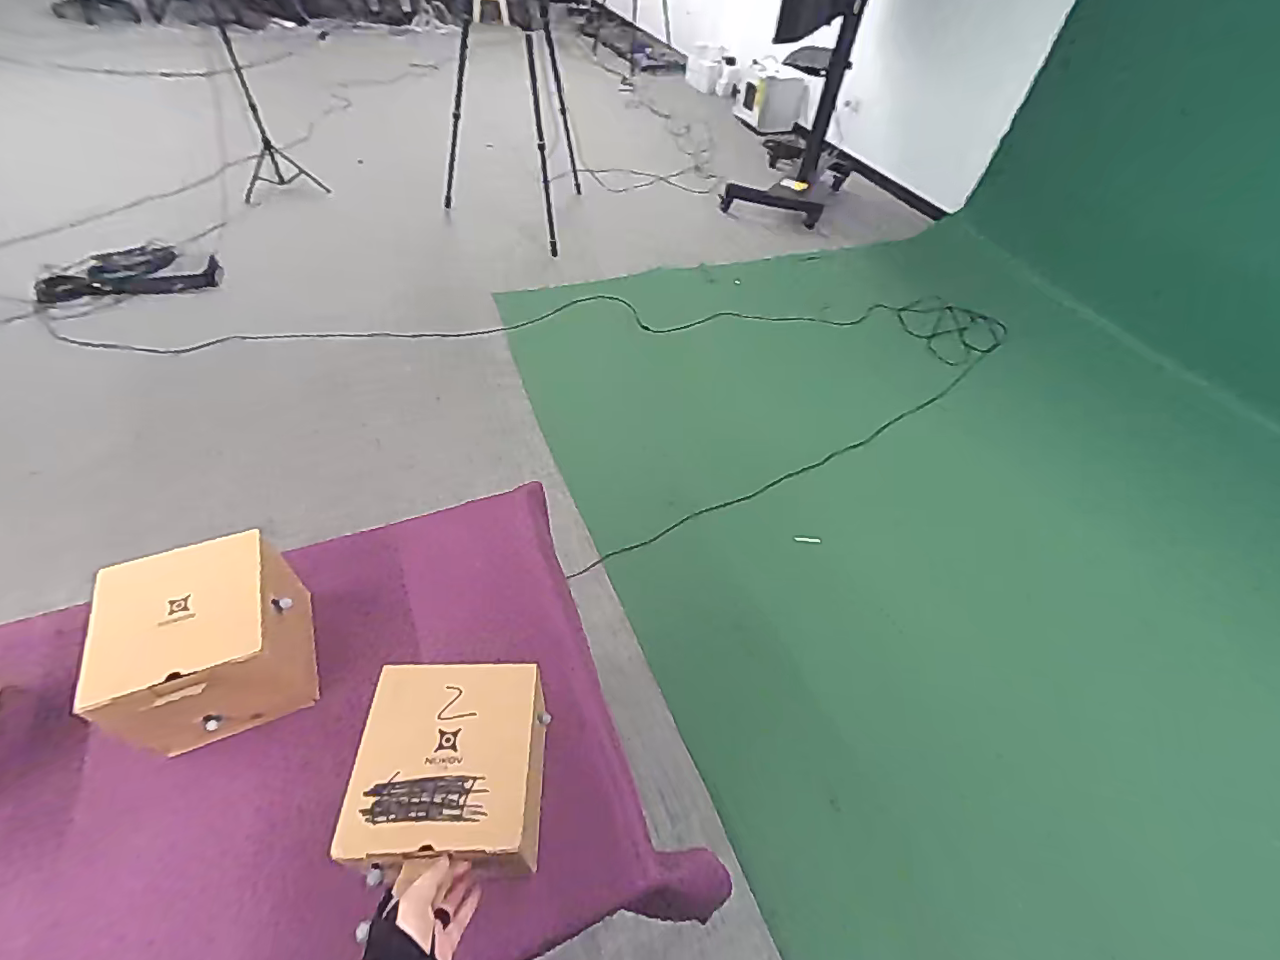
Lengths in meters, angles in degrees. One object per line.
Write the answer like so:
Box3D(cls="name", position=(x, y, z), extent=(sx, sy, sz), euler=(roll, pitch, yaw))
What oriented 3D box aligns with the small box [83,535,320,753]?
Box3D(cls="small box", position=(-0.517, 0.202, 0.668), extent=(0.168, 0.176, 0.179), euler=(-16, 54, -19))
